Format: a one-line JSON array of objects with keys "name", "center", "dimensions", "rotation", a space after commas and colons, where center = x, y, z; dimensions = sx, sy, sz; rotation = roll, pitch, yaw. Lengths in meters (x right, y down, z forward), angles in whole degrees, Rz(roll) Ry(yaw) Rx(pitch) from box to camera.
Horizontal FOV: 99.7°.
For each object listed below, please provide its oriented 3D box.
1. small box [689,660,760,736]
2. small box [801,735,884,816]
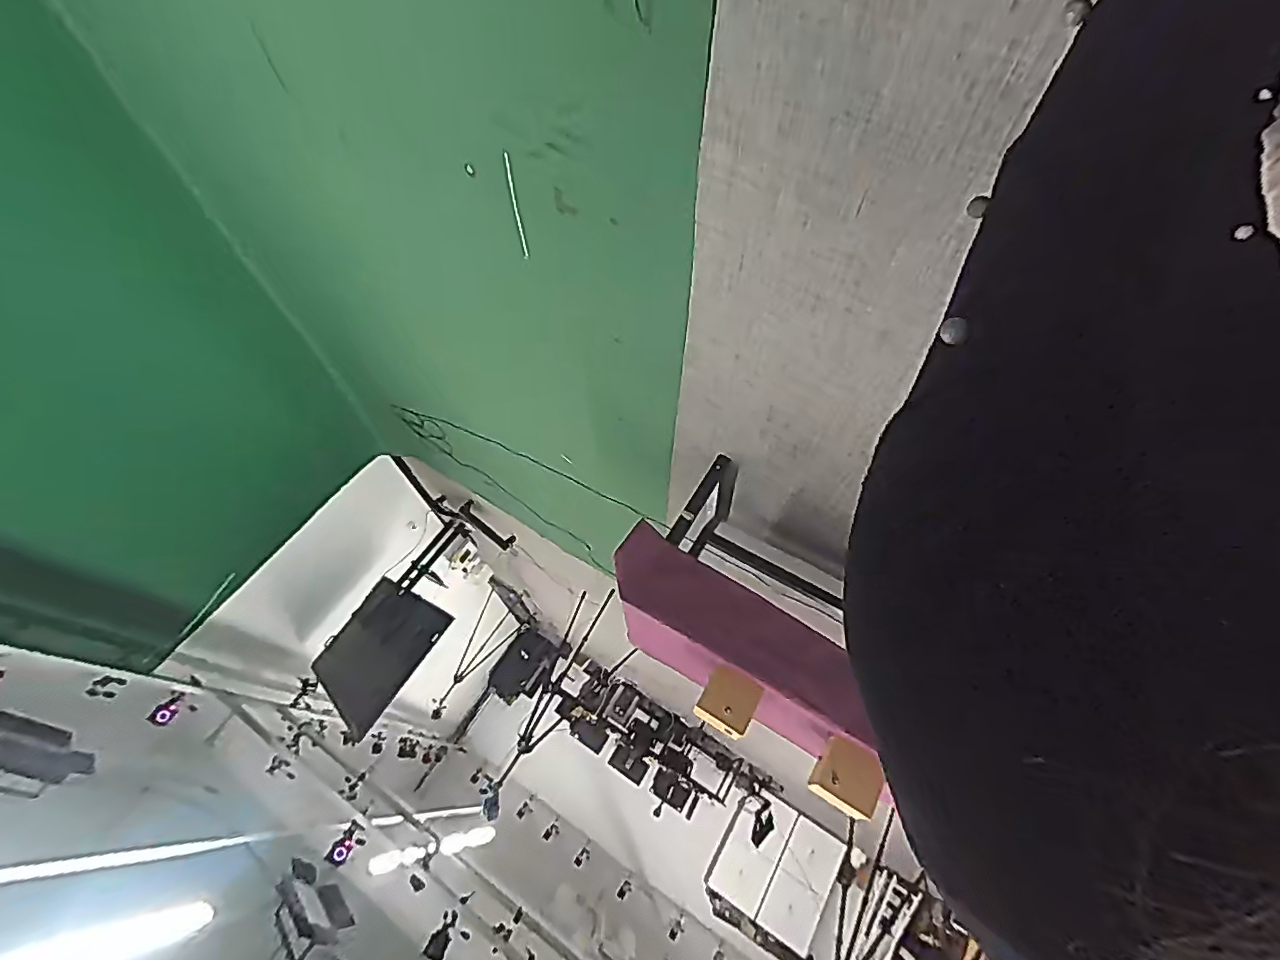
[{"name": "small box", "center": [0.289, 0.745, 1.850], "dimensions": [0.179, 0.176, 0.168], "rotation": [29, 154, 16]}, {"name": "small box", "center": [0.646, 0.940, 1.731], "dimensions": [0.179, 0.176, 0.168], "rotation": [28, 155, 18]}]
